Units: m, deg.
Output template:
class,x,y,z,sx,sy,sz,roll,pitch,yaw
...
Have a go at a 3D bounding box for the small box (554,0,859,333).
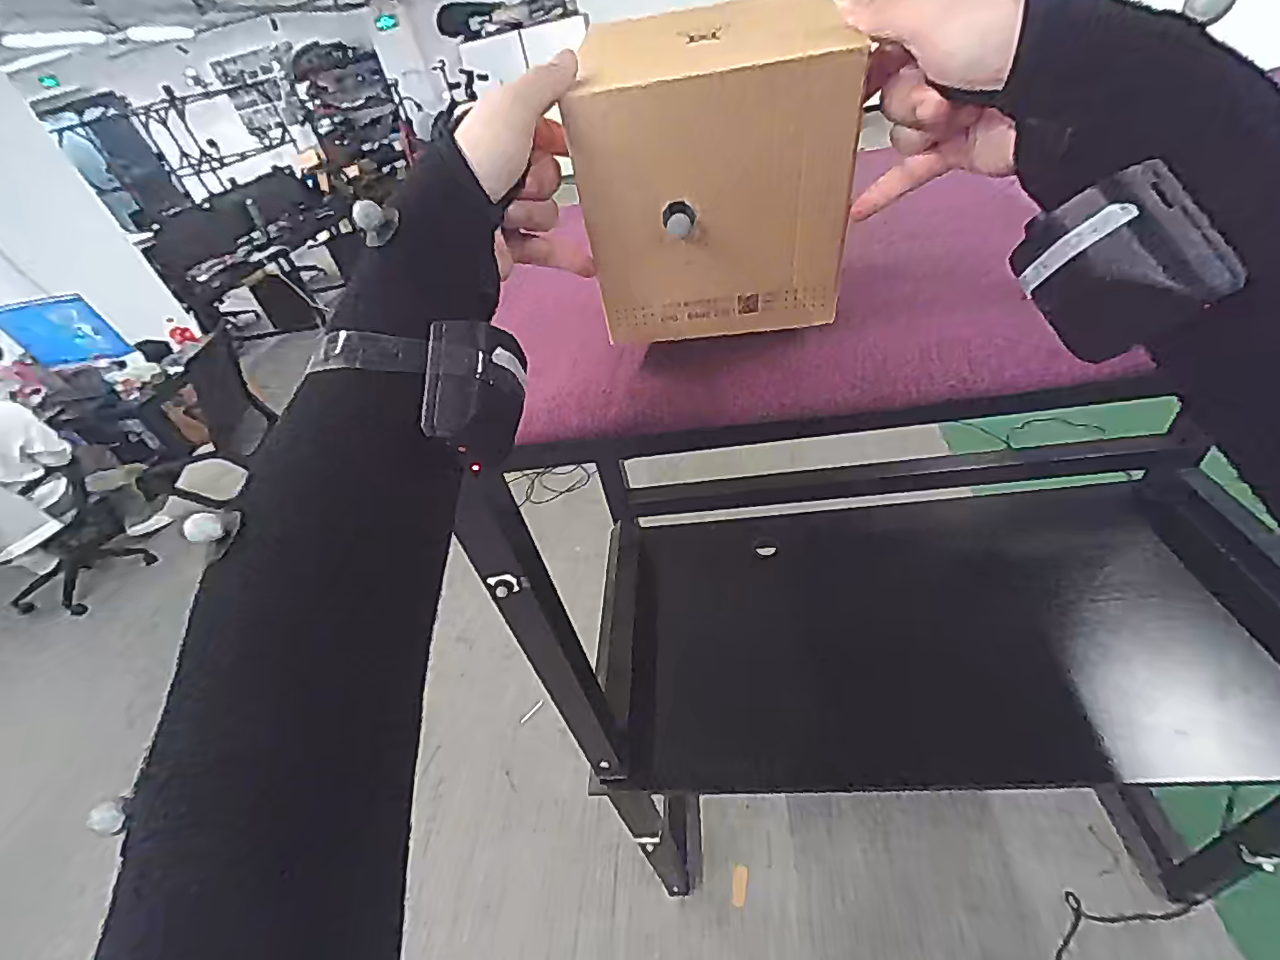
class,x,y,z,sx,sy,sz,roll,pitch,yaw
small box,0.050,-0.222,0.395,0.168,0.176,0.179,-4,49,9
